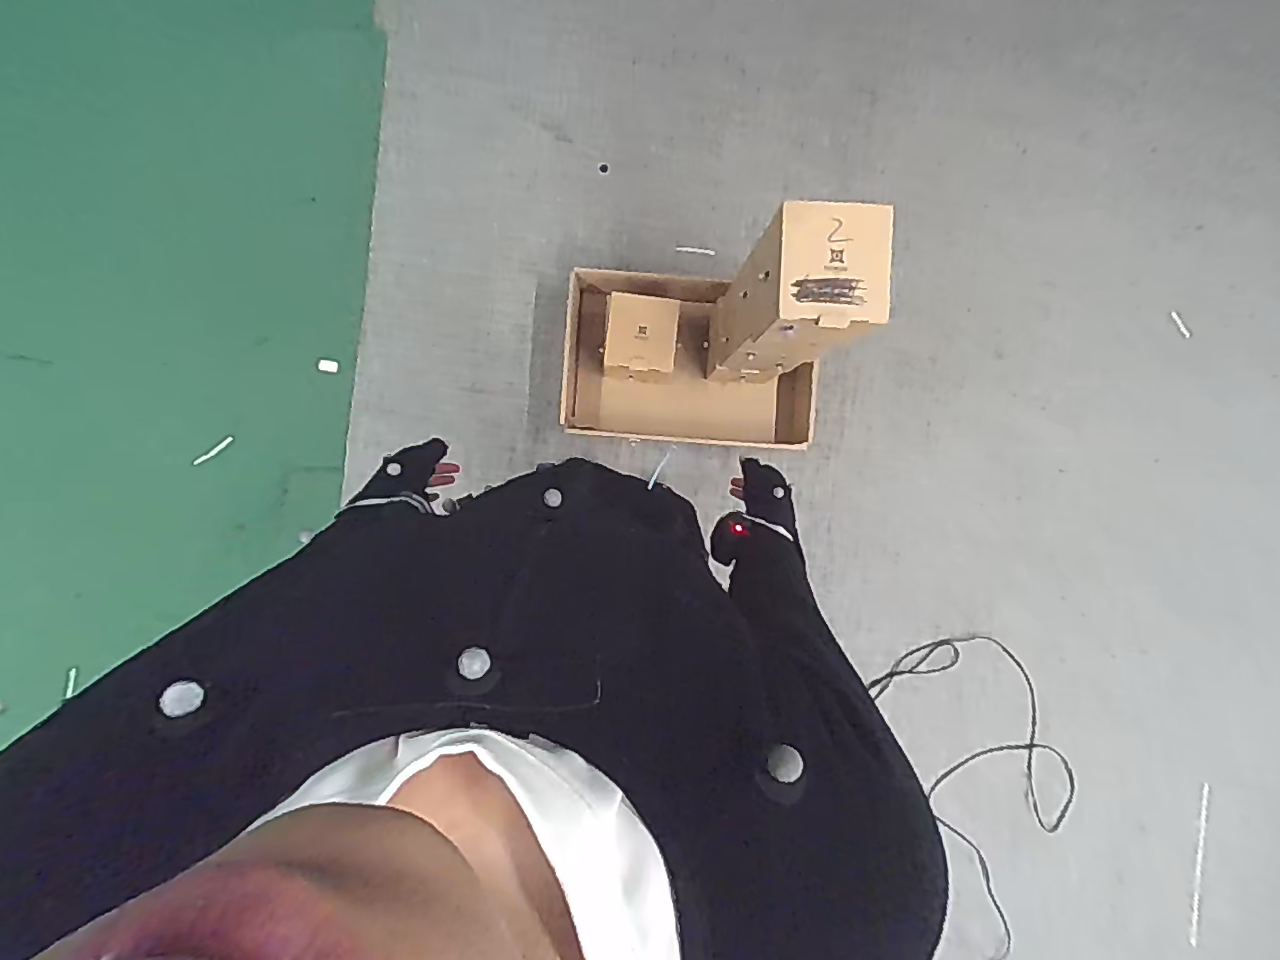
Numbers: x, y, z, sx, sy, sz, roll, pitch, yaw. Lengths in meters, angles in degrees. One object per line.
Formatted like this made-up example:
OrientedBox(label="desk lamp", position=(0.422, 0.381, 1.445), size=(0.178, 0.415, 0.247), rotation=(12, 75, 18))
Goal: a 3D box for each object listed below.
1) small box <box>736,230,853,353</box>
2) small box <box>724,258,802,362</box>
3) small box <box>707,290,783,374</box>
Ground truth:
OrientedBox(label="small box", position=(0.284, -0.348, 1.029), size=(0.168, 0.176, 0.179), rotation=(5, 92, -3))
OrientedBox(label="small box", position=(0.281, -0.359, 1.176), size=(0.168, 0.176, 0.179), rotation=(4, 92, -2))
OrientedBox(label="small box", position=(0.262, -0.365, 1.357), size=(0.168, 0.176, 0.179), rotation=(0, 91, -1))
